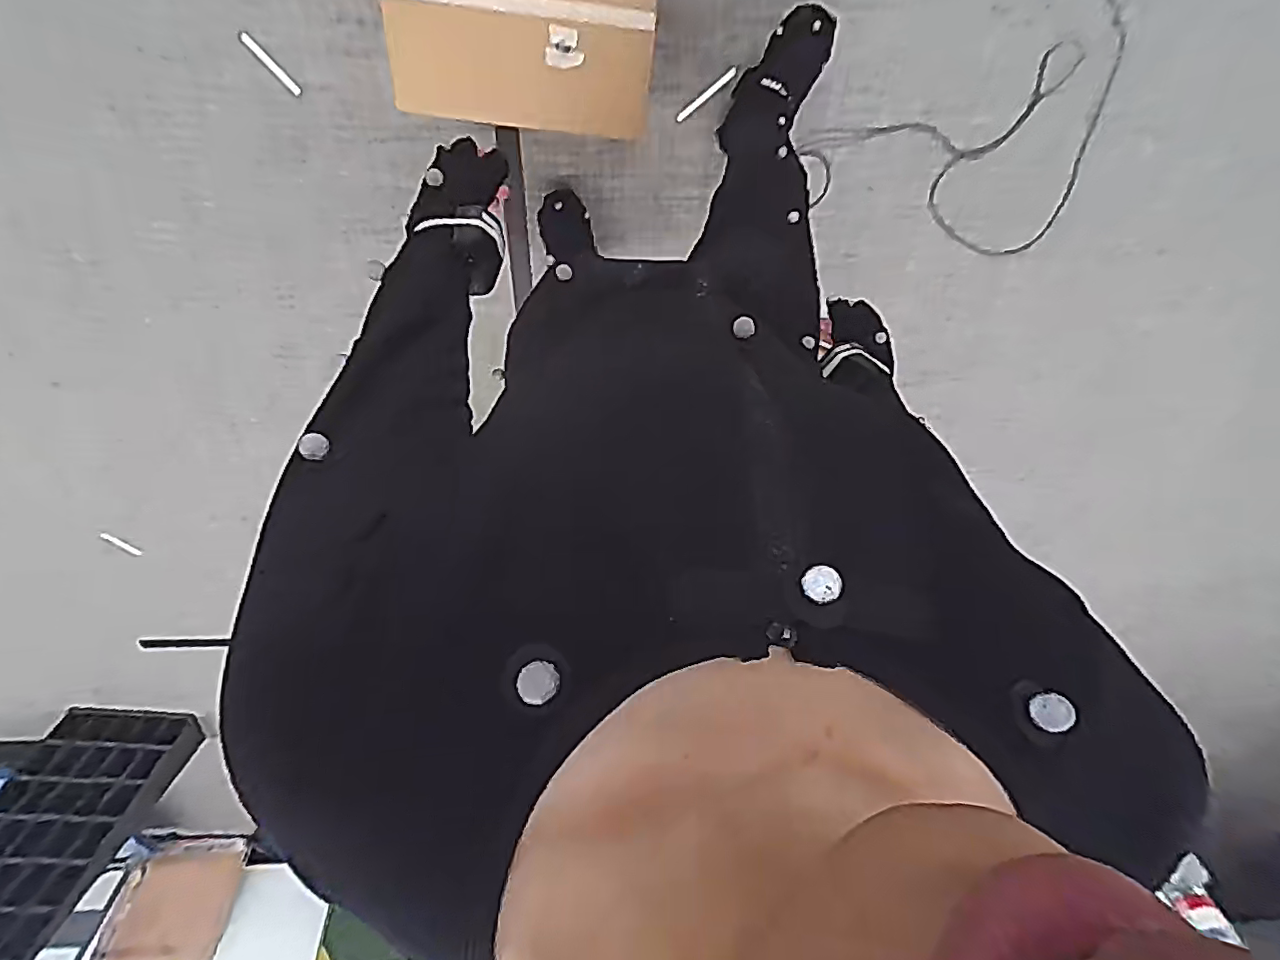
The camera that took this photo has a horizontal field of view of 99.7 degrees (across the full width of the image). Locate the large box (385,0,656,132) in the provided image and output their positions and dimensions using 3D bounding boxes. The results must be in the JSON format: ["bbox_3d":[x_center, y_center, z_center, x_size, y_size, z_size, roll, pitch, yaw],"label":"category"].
[{"bbox_3d":[-0.185,-0.803,0.919,0.408,0.320,0.320,3,127,-6],"label":"large box"}]
